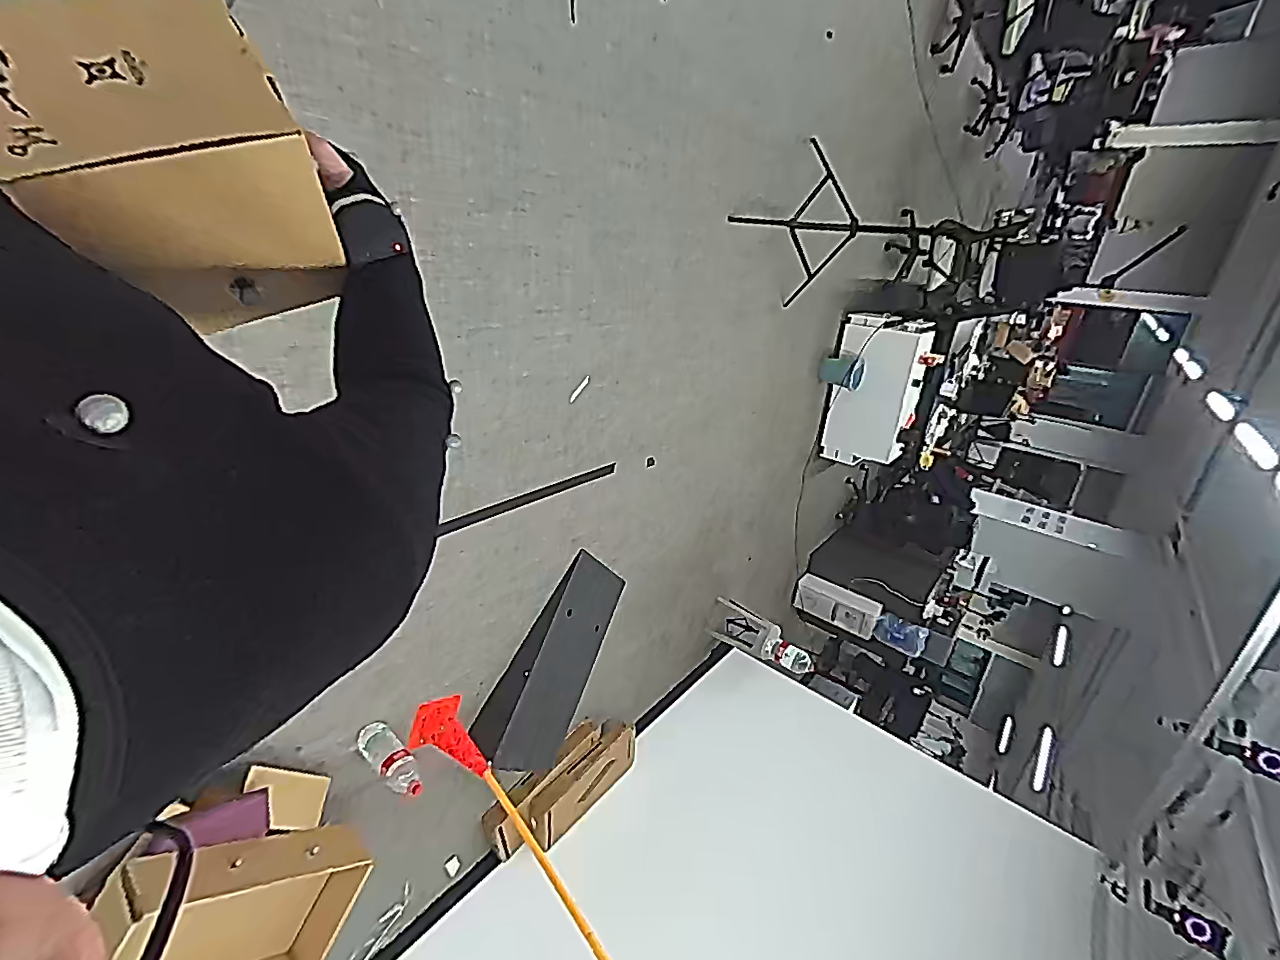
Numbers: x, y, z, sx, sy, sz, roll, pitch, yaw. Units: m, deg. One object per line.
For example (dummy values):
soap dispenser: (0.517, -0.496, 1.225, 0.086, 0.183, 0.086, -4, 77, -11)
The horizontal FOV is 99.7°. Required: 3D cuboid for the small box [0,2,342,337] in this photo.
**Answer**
small box: (-0.381, -0.255, 0.461, 0.179, 0.168, 0.176, -28, 167, -24)
